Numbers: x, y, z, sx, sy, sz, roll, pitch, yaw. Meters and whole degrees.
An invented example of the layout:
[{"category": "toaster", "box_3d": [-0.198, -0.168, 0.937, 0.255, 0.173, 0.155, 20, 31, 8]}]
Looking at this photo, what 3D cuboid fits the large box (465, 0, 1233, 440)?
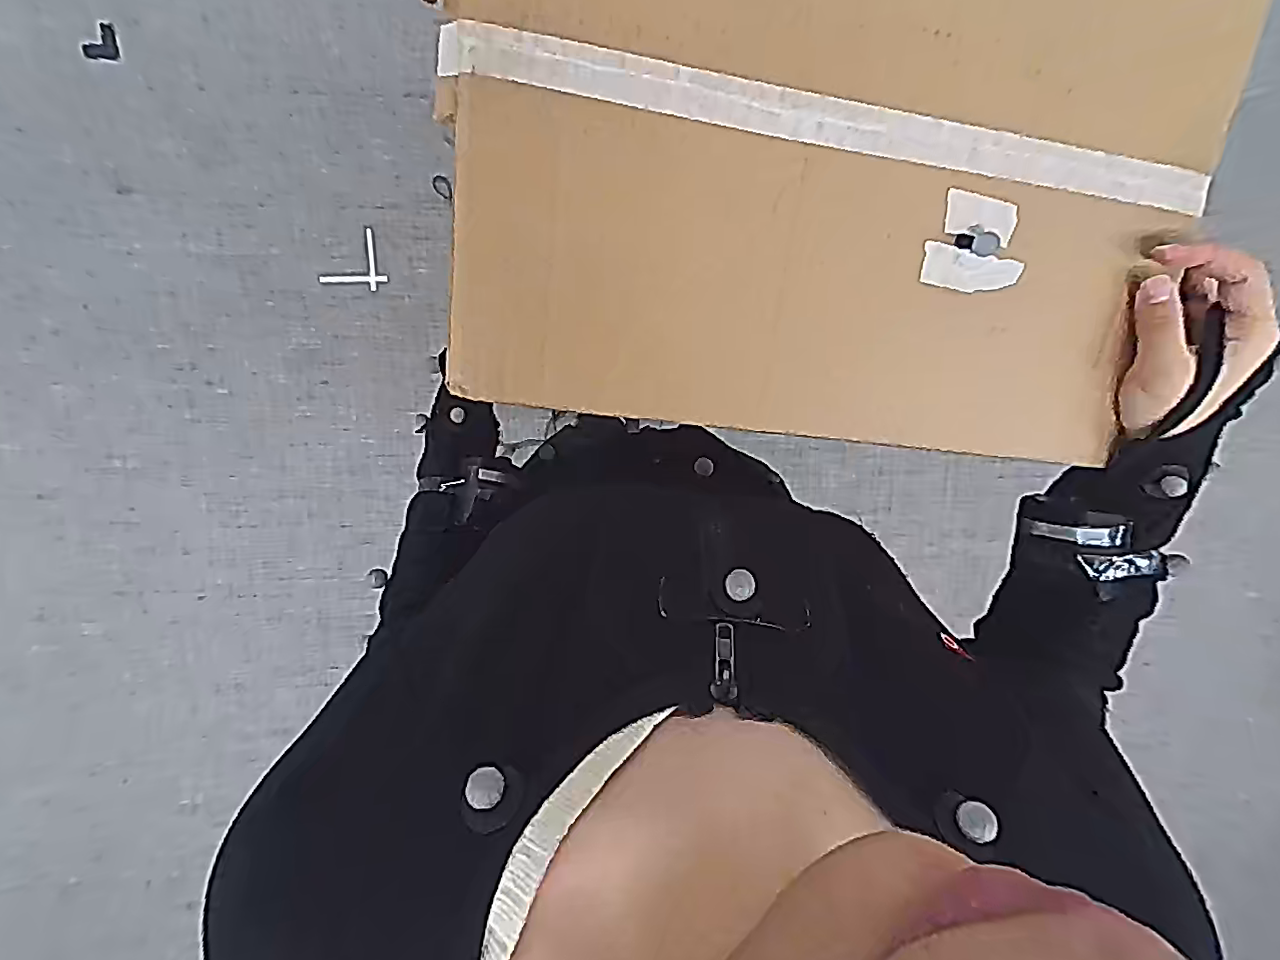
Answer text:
[{"category": "large box", "box_3d": [0.092, -0.221, 0.425, 0.408, 0.320, 0.320, 5, 104, -11]}]
